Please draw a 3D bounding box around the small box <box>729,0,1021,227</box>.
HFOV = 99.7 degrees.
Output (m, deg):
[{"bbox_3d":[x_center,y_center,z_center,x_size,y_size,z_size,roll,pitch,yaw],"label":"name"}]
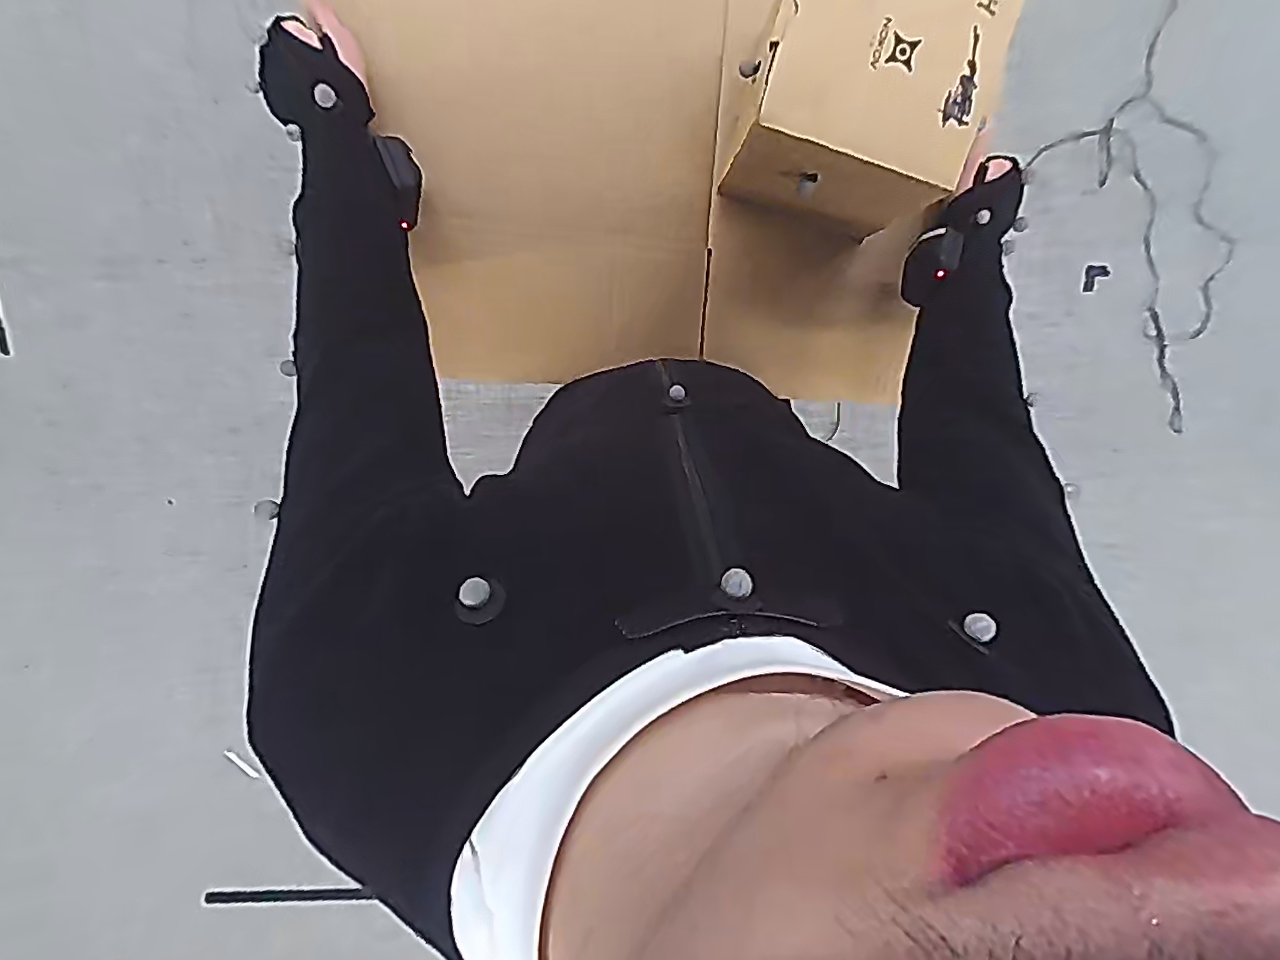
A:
[{"bbox_3d":[0.196,-0.358,0.502,0.179,0.176,0.168,16,101,-4],"label":"small box"}]
